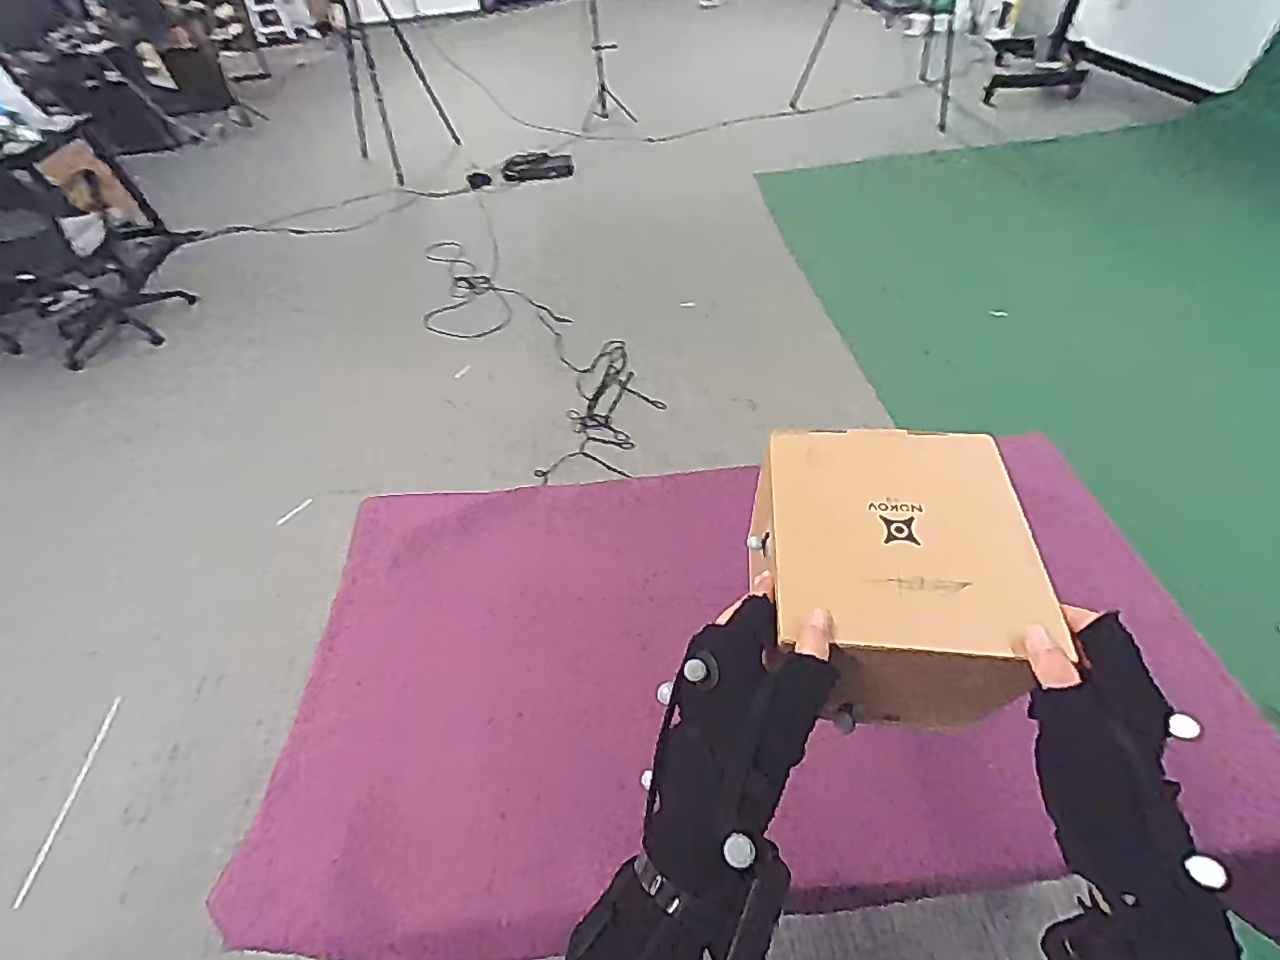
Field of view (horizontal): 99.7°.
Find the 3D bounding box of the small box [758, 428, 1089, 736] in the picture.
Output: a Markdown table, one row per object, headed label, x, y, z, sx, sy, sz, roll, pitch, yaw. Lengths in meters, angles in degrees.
| label | x | y | z | sx | sy | sz | roll | pitch | yaw |
| --- | --- | --- | --- | --- | --- | --- | --- | --- | --- |
| small box | 0.184 | 0.081 | 0.422 | 0.168 | 0.176 | 0.179 | 2 | 53 | 7 |
